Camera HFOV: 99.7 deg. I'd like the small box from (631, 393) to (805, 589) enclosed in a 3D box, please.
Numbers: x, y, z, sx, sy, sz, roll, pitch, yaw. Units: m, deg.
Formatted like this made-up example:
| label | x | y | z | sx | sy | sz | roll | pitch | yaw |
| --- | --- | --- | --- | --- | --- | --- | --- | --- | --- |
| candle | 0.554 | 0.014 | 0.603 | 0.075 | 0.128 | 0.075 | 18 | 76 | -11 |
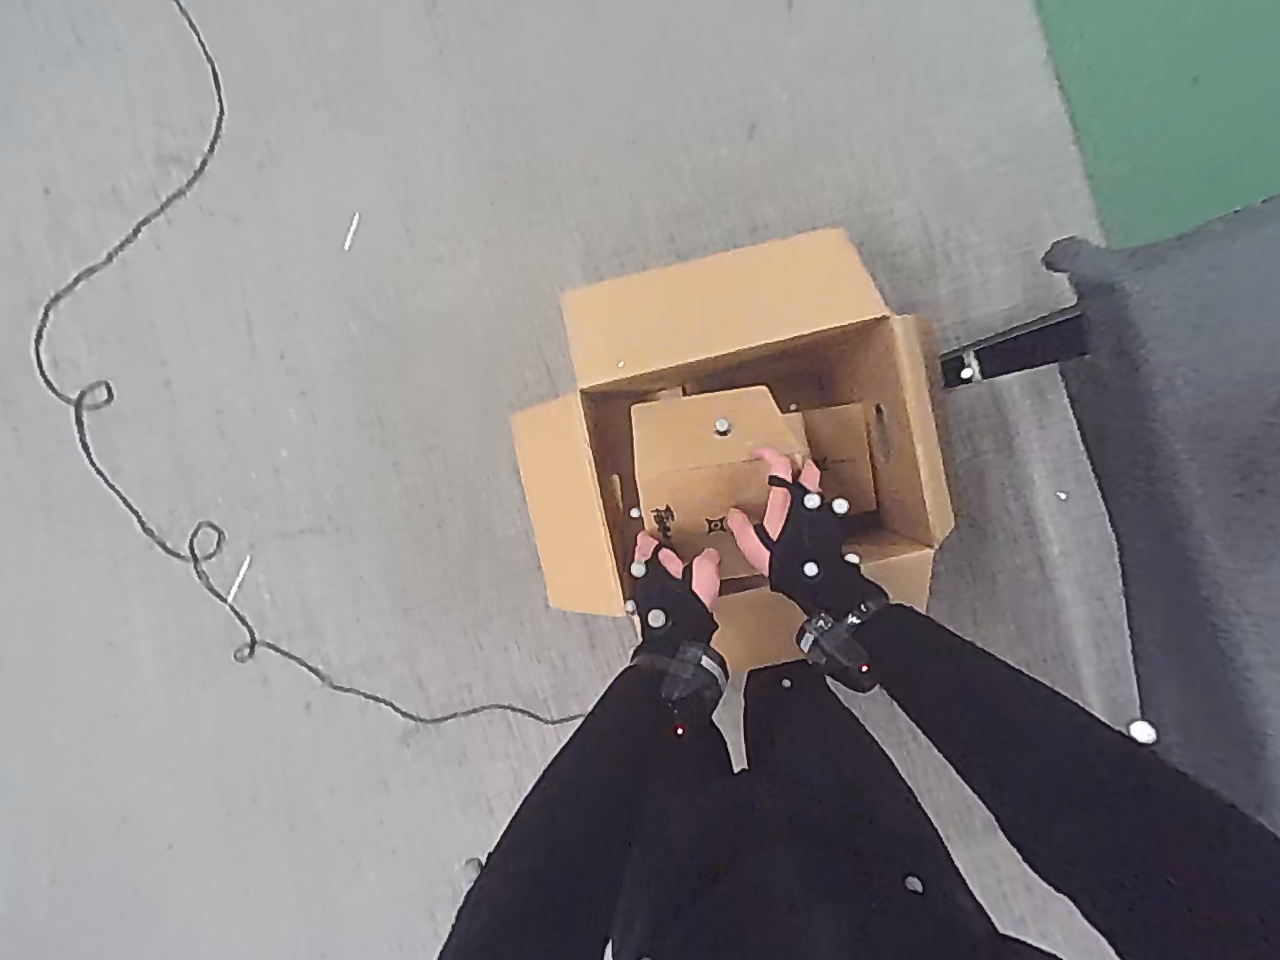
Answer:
| label | x | y | z | sx | sy | sz | roll | pitch | yaw |
| --- | --- | --- | --- | --- | --- | --- | --- | --- | --- |
| small box | 0.089 | 0.007 | 0.664 | 0.179 | 0.176 | 0.168 | -9 | 124 | 2 |
